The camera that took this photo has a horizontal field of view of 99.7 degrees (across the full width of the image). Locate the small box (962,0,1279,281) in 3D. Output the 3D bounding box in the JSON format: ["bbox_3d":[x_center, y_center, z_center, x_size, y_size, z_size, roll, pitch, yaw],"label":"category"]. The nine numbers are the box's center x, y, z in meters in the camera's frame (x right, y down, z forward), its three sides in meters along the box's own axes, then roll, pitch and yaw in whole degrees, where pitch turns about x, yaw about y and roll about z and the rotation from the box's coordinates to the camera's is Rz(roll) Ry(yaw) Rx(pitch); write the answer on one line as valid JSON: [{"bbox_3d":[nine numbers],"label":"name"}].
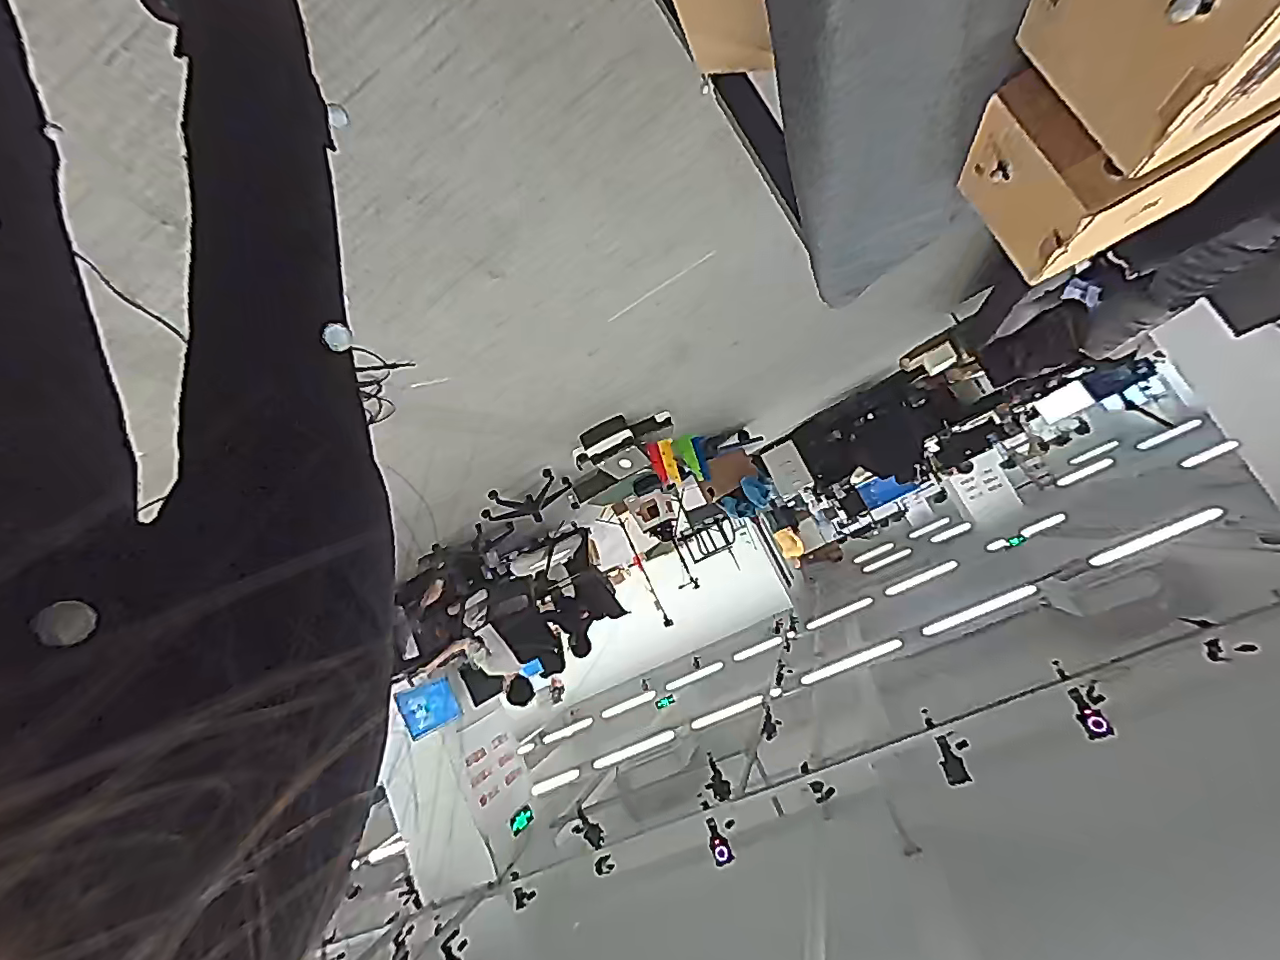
[{"bbox_3d":[0.486,-0.355,0.571,0.179,0.176,0.168,-28,168,17],"label":"small box"}]
